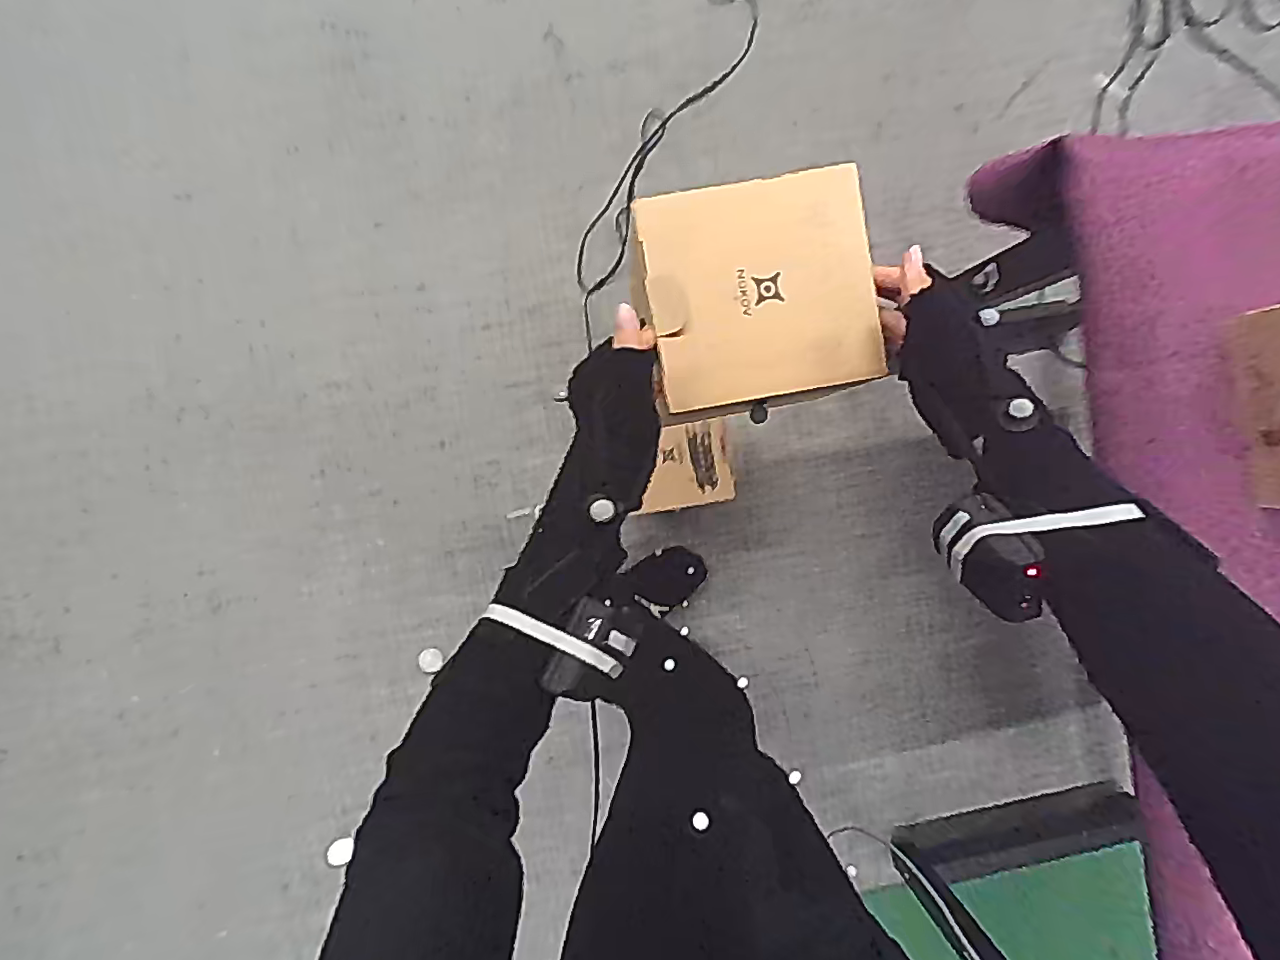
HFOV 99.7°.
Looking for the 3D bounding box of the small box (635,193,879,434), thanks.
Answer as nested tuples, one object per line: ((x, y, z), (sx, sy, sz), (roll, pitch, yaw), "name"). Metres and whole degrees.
((0.093, -0.138, 0.509), (0.179, 0.176, 0.168), (-10, 92, -1), "small box")

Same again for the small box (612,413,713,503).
((0.038, -0.050, 1.087), (0.179, 0.176, 0.168), (-8, 92, -2), "small box")
